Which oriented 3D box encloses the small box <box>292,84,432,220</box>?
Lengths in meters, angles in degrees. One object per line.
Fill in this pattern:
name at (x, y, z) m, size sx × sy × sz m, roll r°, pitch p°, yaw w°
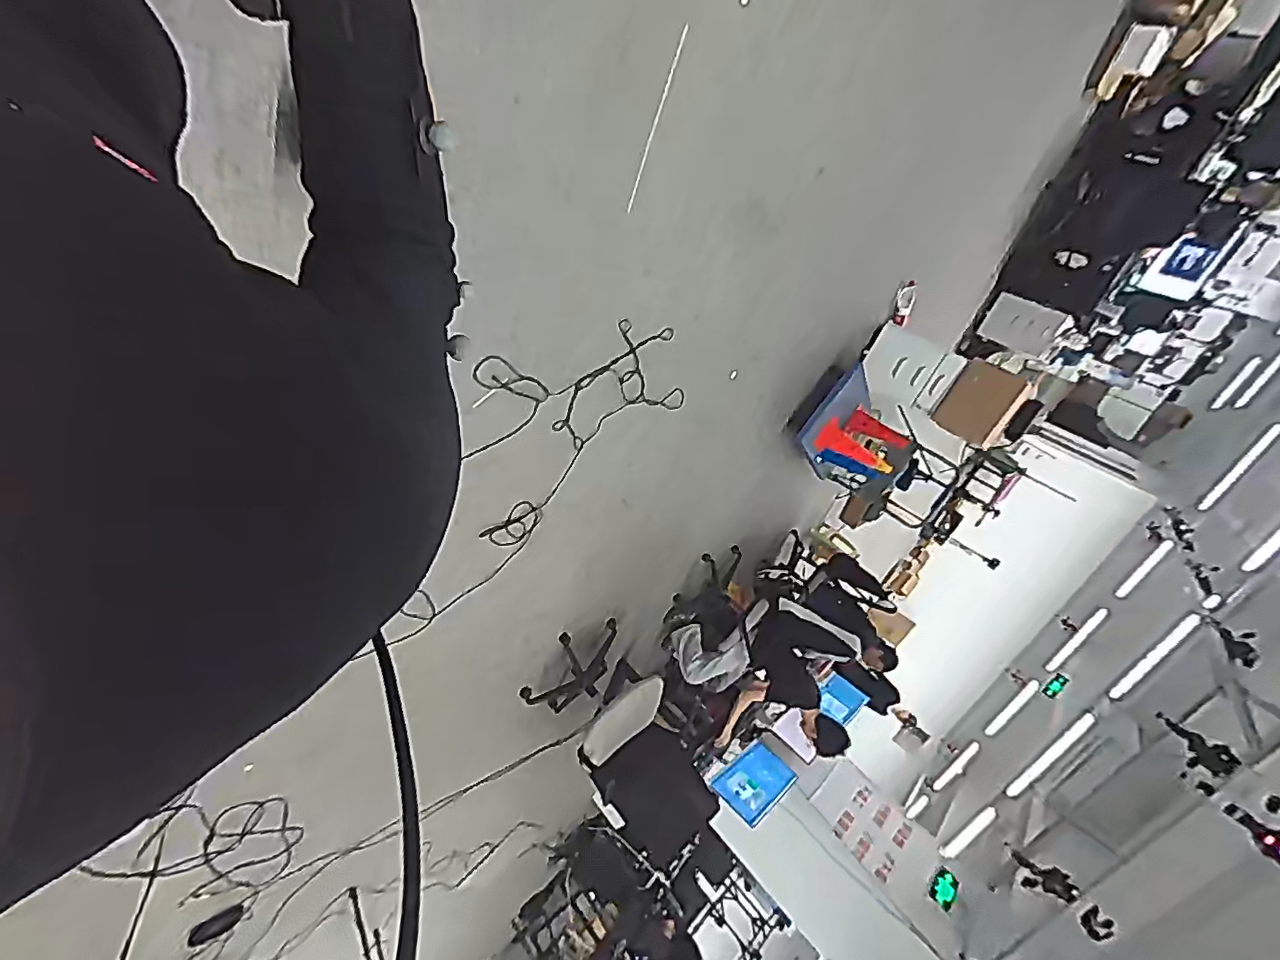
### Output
small box at (-0.541, -0.635, 1.049) m, size 0.179 × 0.176 × 0.168 m, roll -6°, pitch 125°, yaw -50°
